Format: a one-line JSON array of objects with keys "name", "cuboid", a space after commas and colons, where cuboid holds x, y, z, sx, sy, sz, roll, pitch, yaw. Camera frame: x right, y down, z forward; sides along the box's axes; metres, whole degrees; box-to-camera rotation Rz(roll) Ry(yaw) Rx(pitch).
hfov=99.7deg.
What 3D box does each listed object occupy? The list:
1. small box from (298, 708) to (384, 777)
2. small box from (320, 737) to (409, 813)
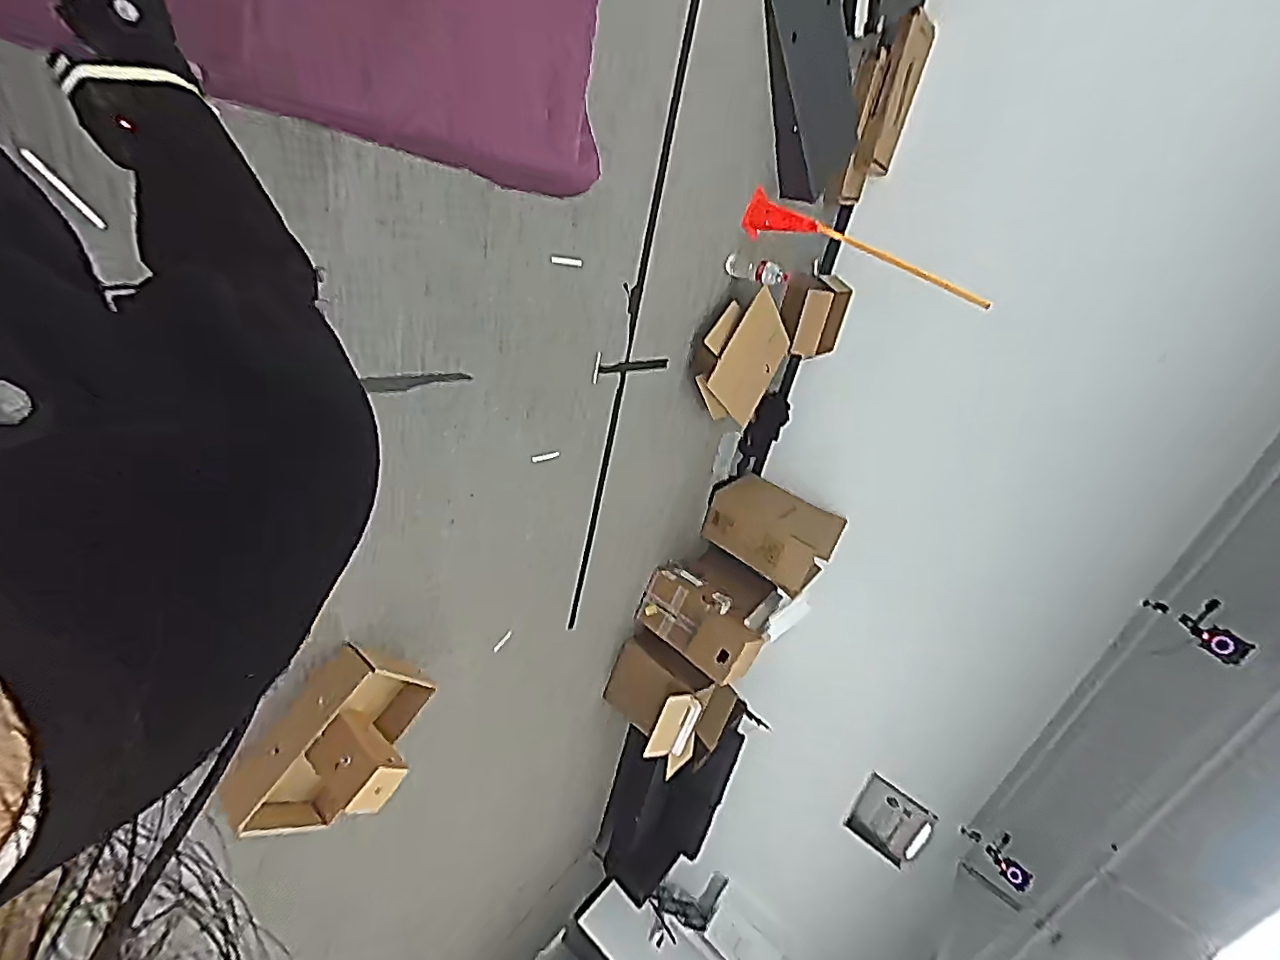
[{"name": "small box", "cuboid": [-1.076, 0.949, 1.948, 0.168, 0.176, 0.179, -51, 150, -18]}, {"name": "small box", "cuboid": [-0.952, 1.019, 1.871, 0.168, 0.176, 0.179, -52, 149, -17]}]
